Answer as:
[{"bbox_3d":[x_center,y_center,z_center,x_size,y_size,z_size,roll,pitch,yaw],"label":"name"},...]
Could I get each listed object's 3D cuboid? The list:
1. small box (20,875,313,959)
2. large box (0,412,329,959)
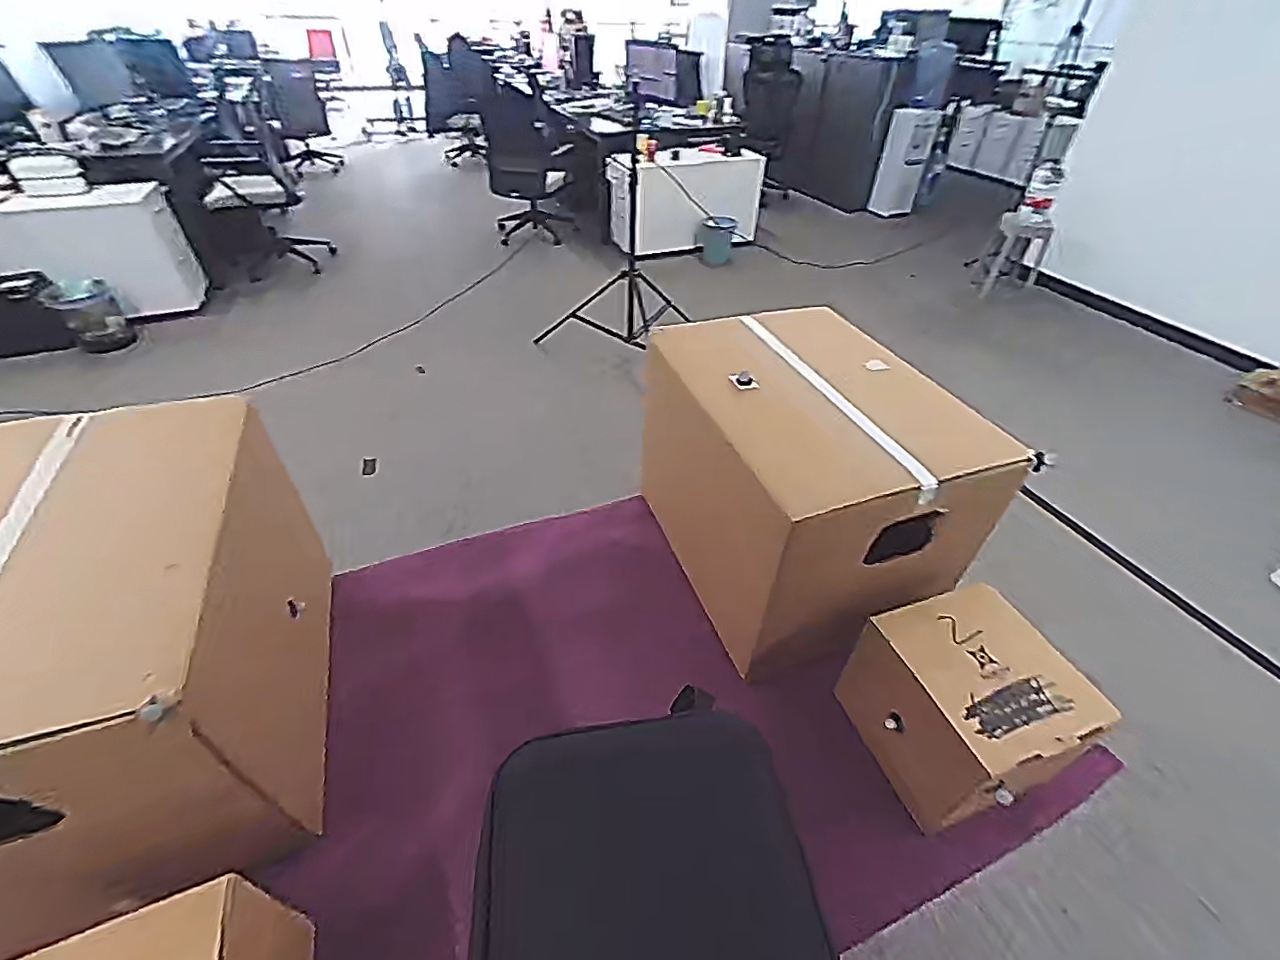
[{"bbox_3d":[-0.366,0.439,0.390,0.179,0.176,0.168,-15,43,-19],"label":"small box"},{"bbox_3d":[-0.542,0.185,0.567,0.320,0.320,0.408,-14,46,-18],"label":"large box"}]
